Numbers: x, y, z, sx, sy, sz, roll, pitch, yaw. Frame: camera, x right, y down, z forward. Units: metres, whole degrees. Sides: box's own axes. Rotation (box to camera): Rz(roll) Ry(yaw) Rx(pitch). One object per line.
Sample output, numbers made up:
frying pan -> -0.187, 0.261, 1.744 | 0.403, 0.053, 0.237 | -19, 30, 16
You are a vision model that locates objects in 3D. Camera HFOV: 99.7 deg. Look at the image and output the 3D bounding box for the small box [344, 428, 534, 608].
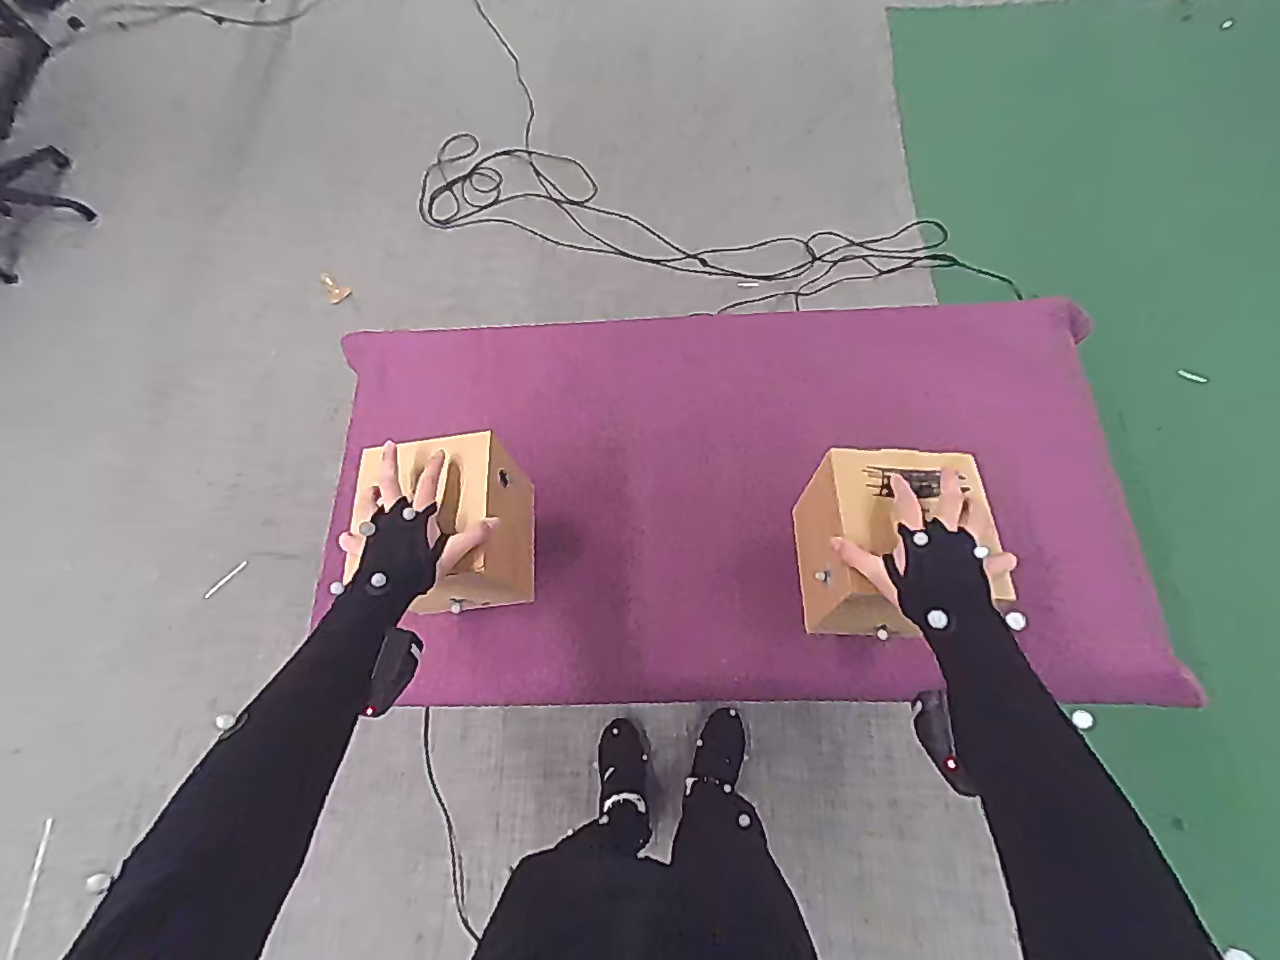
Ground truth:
small box -> -0.243, 0.056, 0.701 | 0.168, 0.176, 0.179 | -7, 65, 6
